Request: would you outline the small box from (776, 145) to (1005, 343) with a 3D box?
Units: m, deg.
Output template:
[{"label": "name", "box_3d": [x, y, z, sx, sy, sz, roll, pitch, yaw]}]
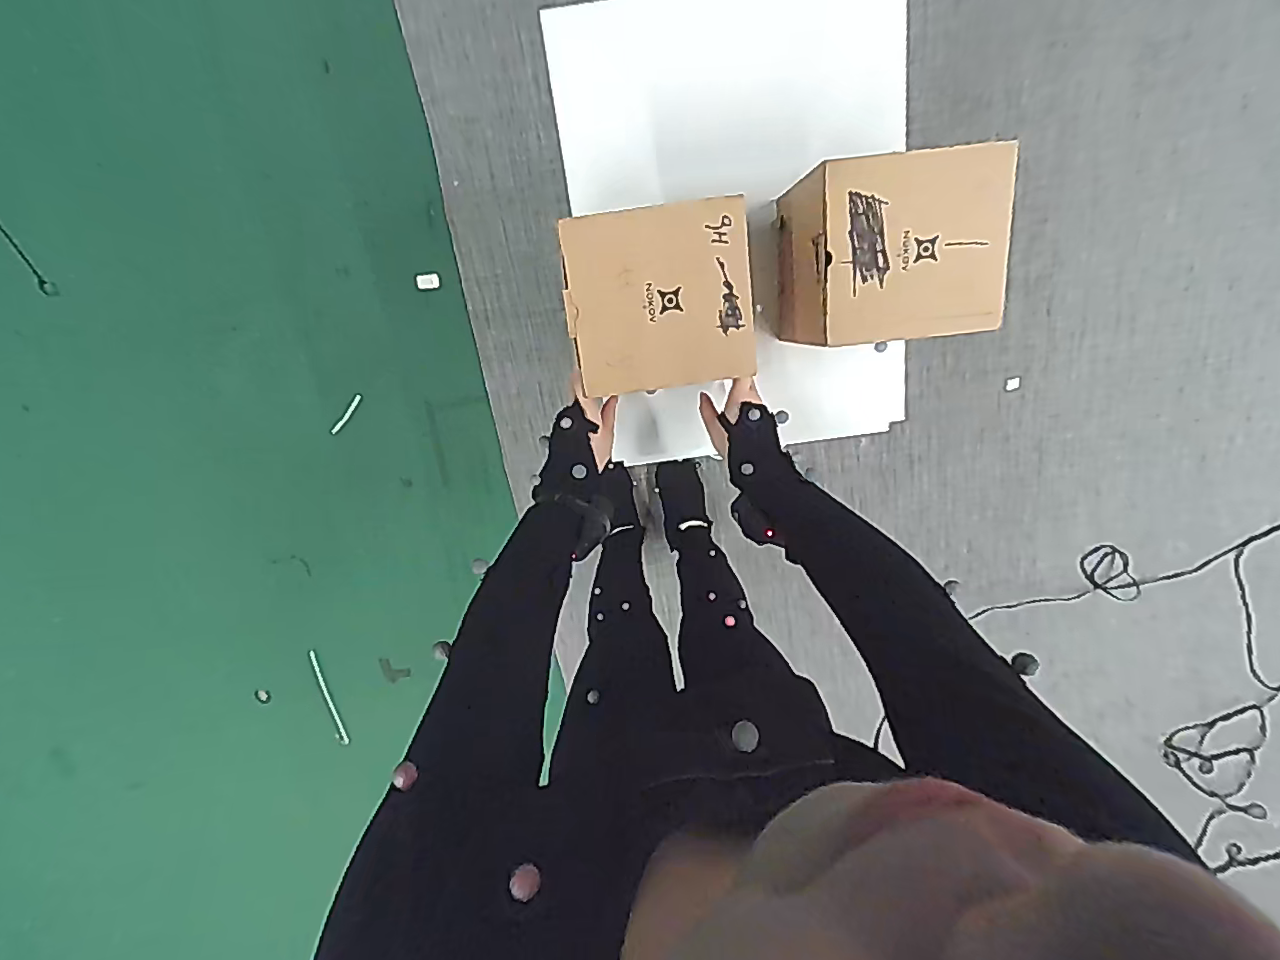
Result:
[{"label": "small box", "box_3d": [0.251, -0.241, 0.589, 0.179, 0.176, 0.168, -6, 107, 0]}]

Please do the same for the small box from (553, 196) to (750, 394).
[{"label": "small box", "box_3d": [0.011, -0.194, 0.593, 0.179, 0.176, 0.168, -8, 107, -1]}]
